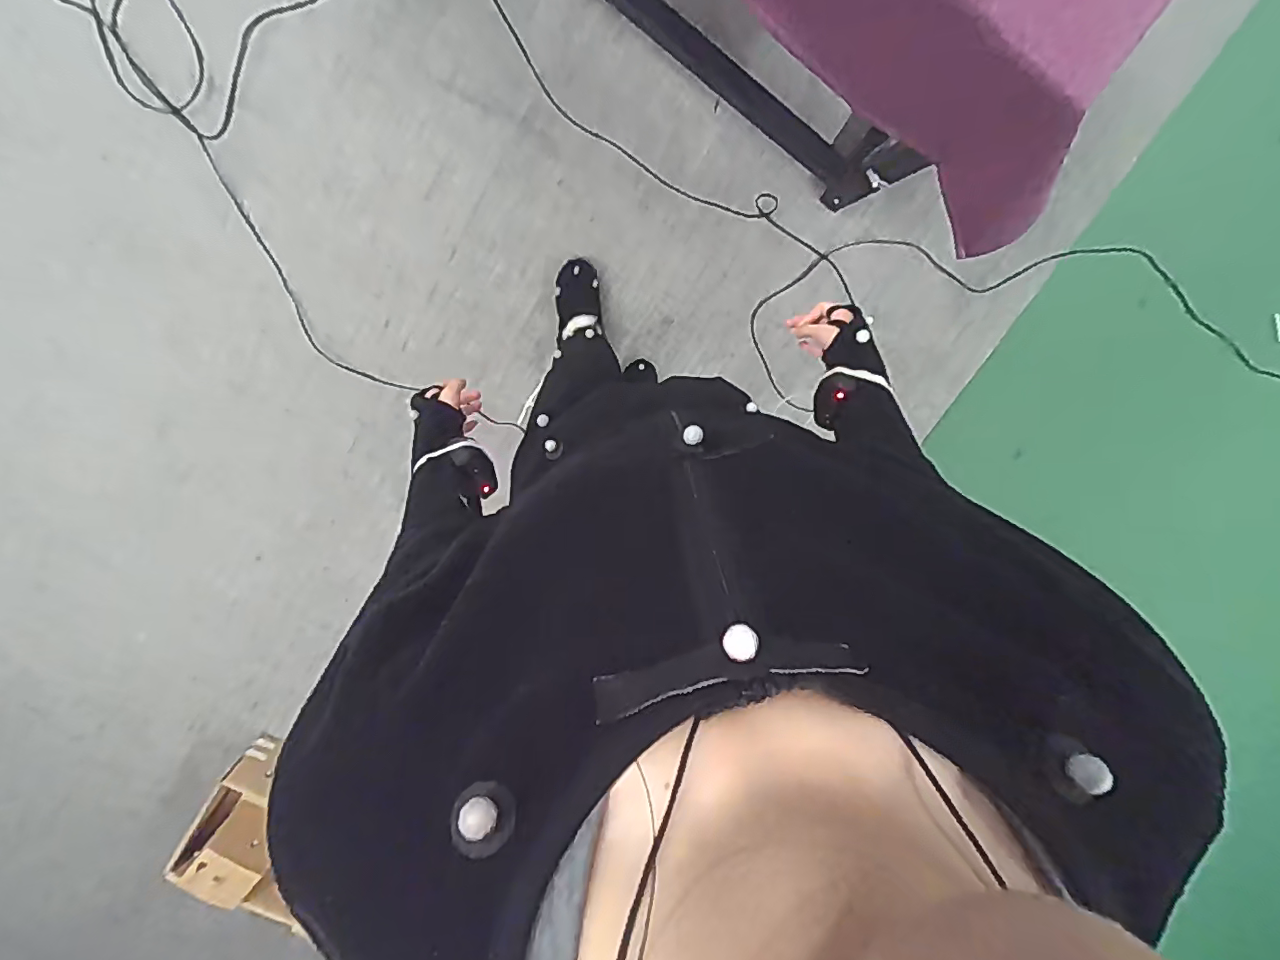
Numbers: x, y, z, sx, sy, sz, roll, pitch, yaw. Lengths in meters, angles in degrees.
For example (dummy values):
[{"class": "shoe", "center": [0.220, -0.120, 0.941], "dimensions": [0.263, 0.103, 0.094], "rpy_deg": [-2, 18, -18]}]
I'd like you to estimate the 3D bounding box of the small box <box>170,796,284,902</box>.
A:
[{"class": "small box", "center": [-1.210, 1.085, 1.602], "dimensions": [0.179, 0.176, 0.168], "rpy_deg": [42, 97, -16]}]
